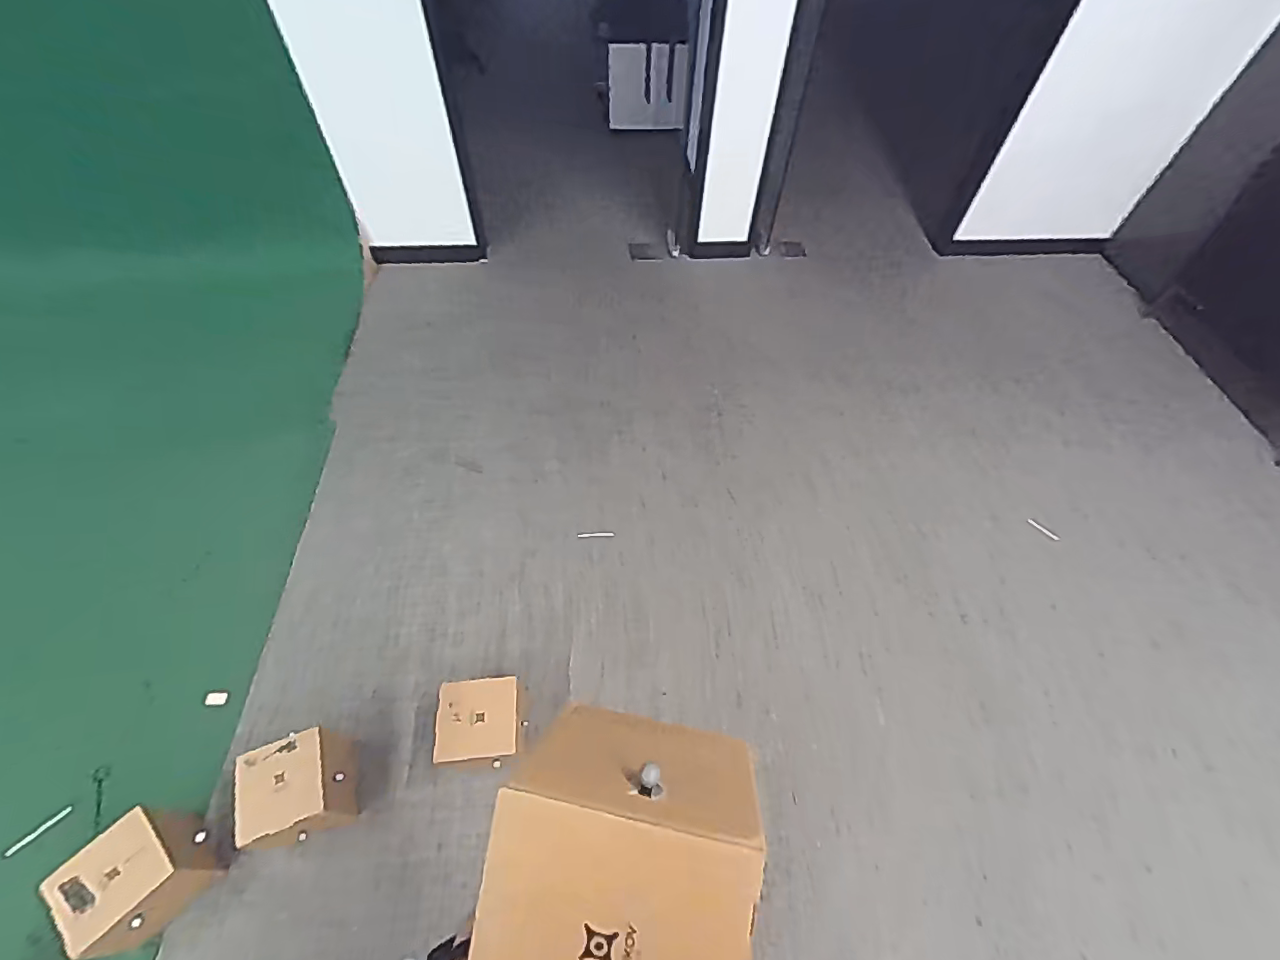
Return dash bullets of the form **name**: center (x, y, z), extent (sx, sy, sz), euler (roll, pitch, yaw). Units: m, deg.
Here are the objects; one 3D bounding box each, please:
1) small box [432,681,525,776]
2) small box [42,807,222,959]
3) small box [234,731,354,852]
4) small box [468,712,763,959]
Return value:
- **small box**: center (-0.364, 0.578, 1.255), extent (0.179, 0.176, 0.168), euler (-3, 54, -5)
- **small box**: center (-0.998, 0.796, 1.077), extent (0.168, 0.176, 0.179), euler (36, 60, 22)
- **small box**: center (-0.742, 0.675, 1.173), extent (0.168, 0.176, 0.179), euler (-17, 57, -14)
- **small box**: center (-0.013, 0.300, 0.420), extent (0.179, 0.176, 0.168), euler (9, 86, 7)
